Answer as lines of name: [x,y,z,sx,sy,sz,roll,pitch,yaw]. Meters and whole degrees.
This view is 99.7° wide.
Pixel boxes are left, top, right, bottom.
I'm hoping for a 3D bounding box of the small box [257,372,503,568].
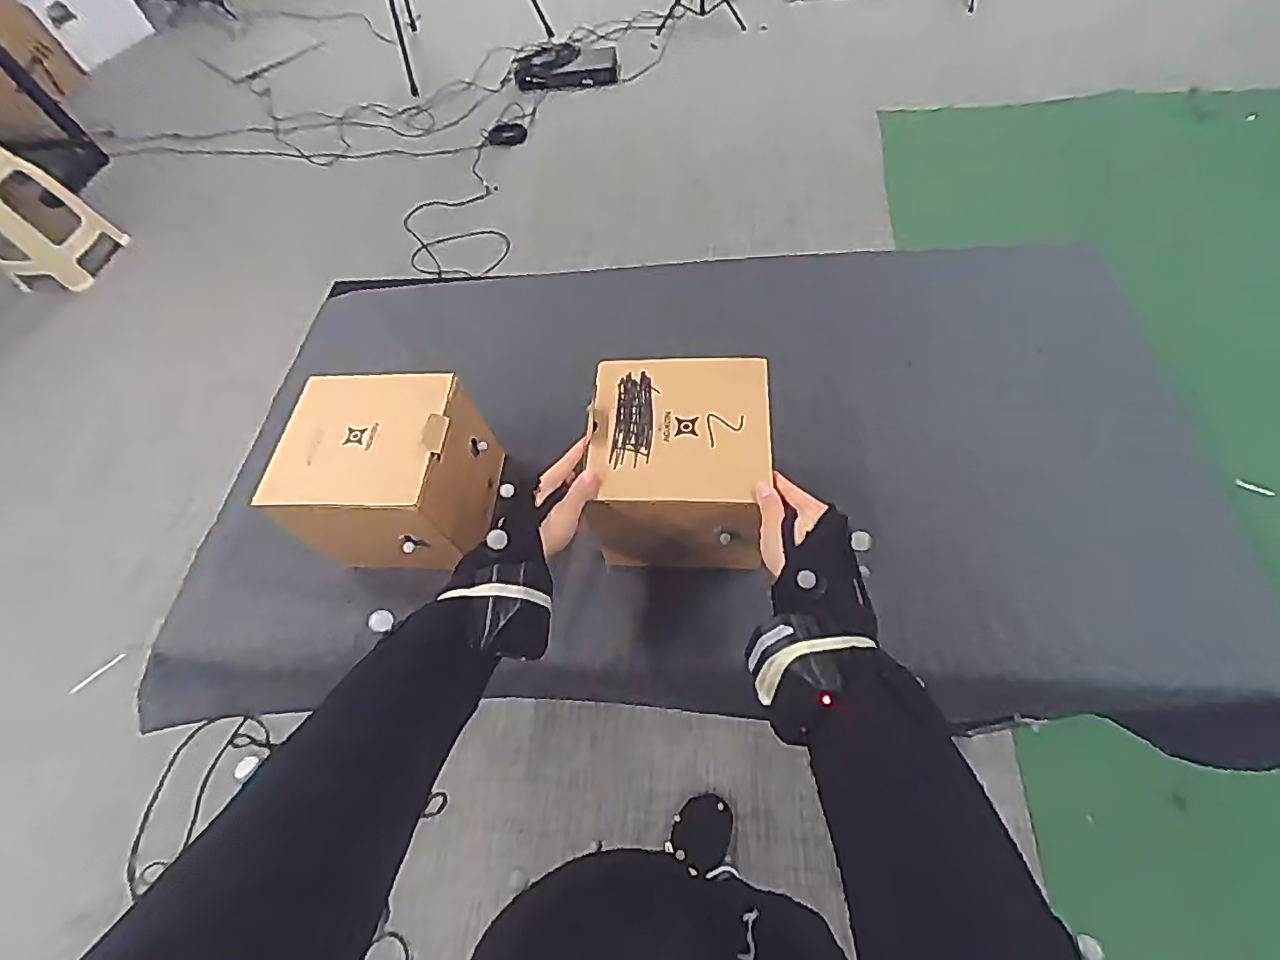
small box: [-0.275,-0.005,0.623,0.179,0.176,0.168,-1,59,7]
